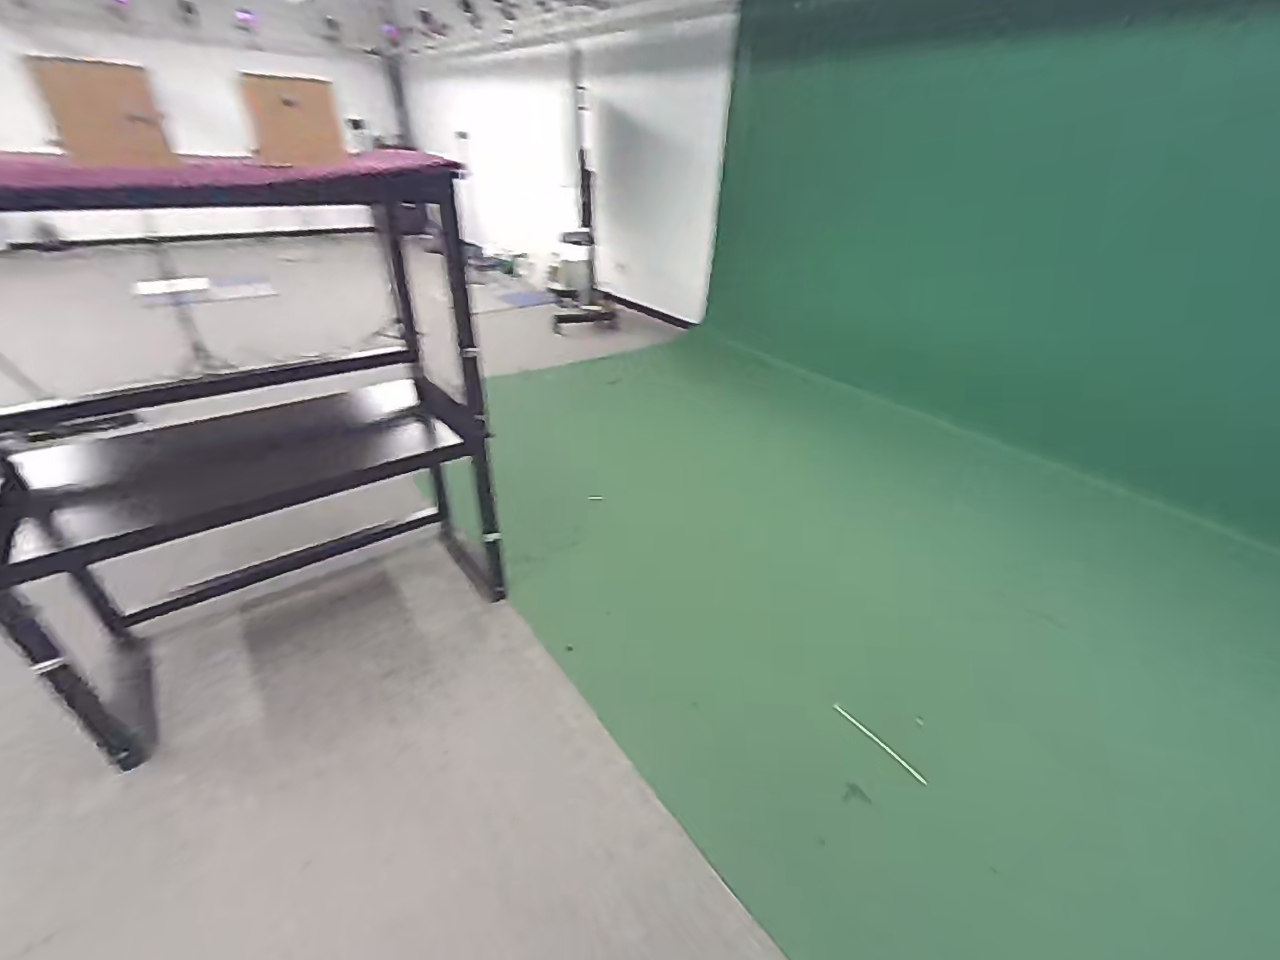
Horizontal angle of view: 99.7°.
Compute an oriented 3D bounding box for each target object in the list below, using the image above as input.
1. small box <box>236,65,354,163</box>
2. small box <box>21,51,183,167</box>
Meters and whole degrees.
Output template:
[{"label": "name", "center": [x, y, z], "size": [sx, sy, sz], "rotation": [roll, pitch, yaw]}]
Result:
[{"label": "small box", "center": [-0.782, -0.823, 1.230], "size": [0.179, 0.176, 0.168], "rotation": [-20, 37, -31]}, {"label": "small box", "center": [-1.019, -0.709, 1.042], "size": [0.179, 0.176, 0.168], "rotation": [-24, 40, -33]}]
